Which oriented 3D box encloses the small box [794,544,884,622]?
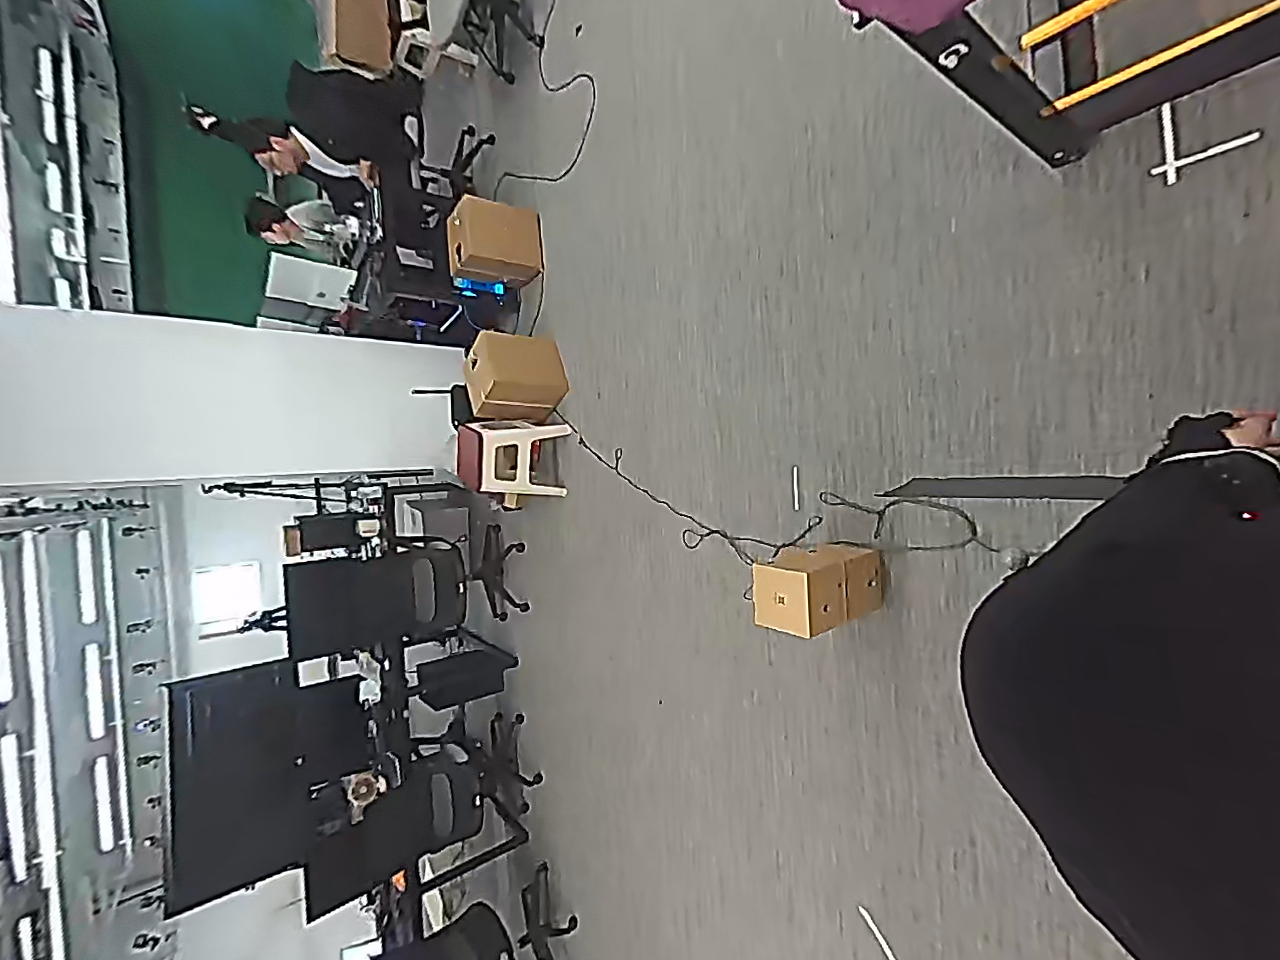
[{"bbox_3d":[0.552,0.277,1.501,0.179,0.176,0.168,0,96,53],"label":"small box"}]

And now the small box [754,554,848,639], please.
[{"bbox_3d":[0.422,0.294,1.405,0.179,0.176,0.168,0,96,54],"label":"small box"}]
